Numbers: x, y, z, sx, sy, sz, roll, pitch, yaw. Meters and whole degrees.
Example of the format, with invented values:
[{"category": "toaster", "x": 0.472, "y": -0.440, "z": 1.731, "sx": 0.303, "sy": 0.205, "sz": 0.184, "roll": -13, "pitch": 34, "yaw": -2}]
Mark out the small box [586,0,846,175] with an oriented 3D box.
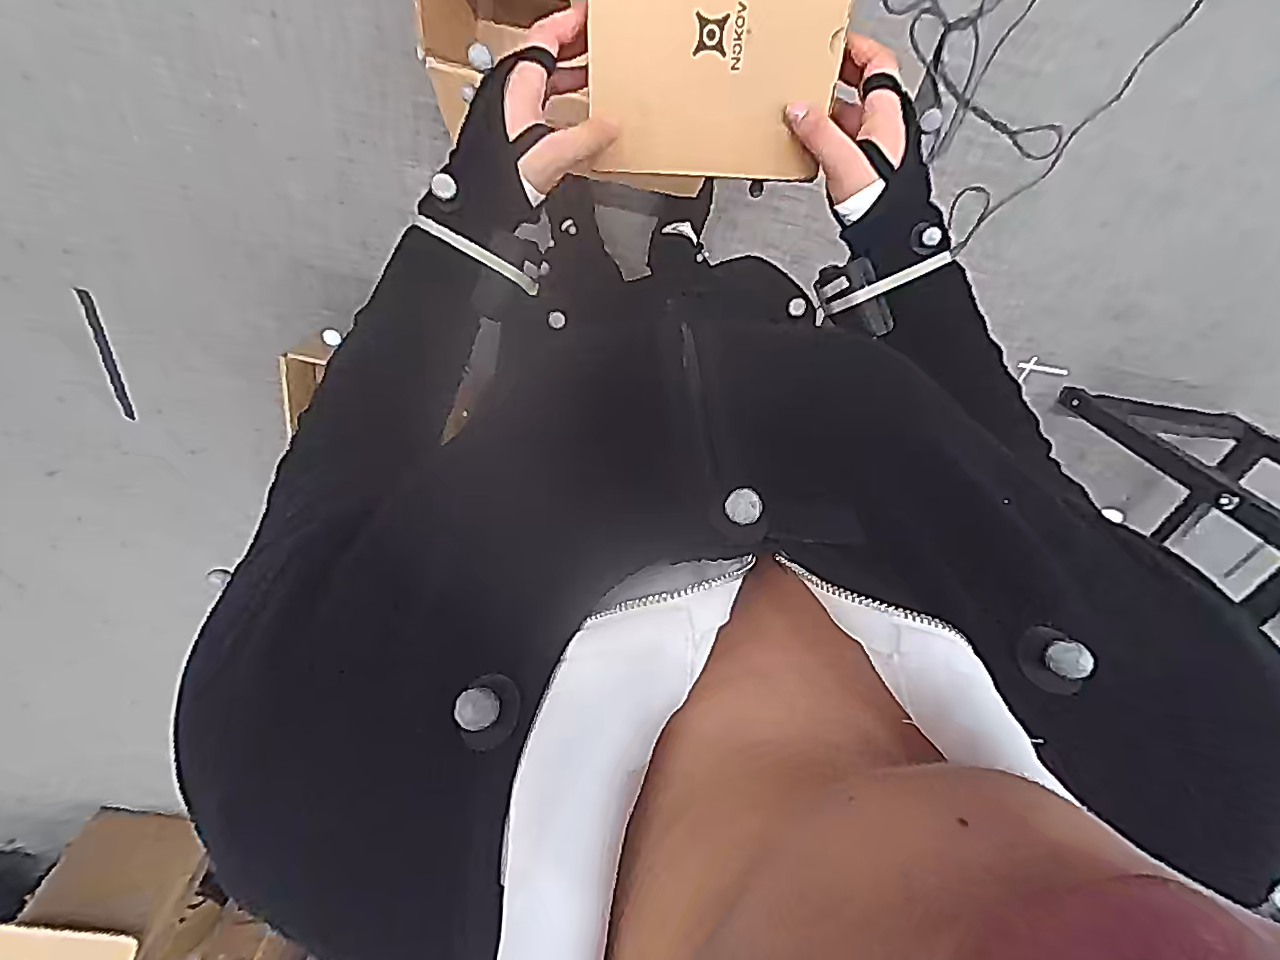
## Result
[{"category": "small box", "x": 0.047, "y": -0.348, "z": 0.434, "sx": 0.179, "sy": 0.176, "sz": 0.168, "roll": 0, "pitch": 124, "yaw": -4}]
